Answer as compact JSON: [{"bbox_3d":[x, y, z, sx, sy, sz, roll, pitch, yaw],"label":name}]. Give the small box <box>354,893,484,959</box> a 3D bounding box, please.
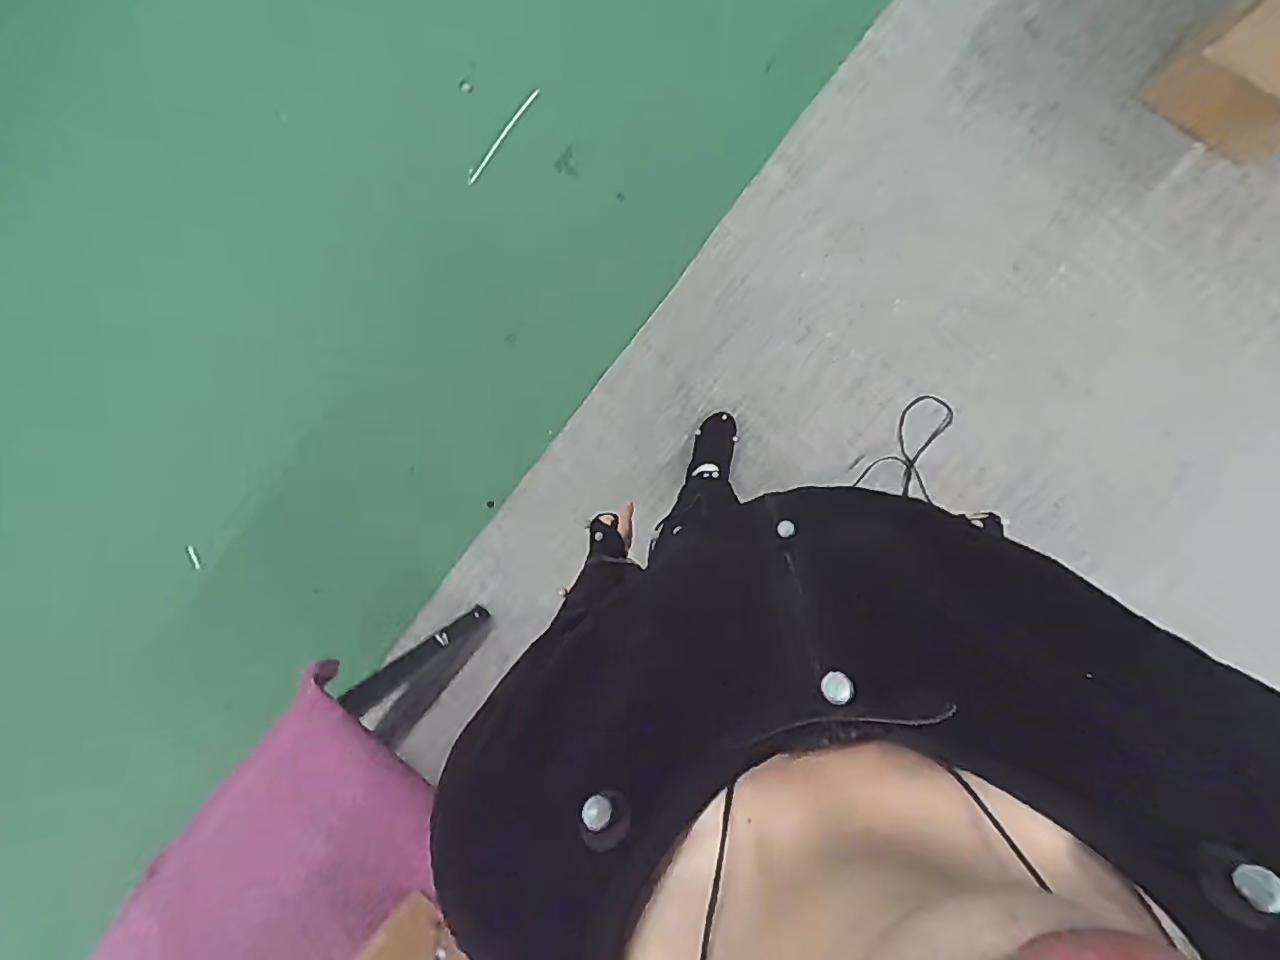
[{"bbox_3d":[-0.361,0.773,0.789,0.168,0.176,0.179,41,97,3],"label":"small box"}]
